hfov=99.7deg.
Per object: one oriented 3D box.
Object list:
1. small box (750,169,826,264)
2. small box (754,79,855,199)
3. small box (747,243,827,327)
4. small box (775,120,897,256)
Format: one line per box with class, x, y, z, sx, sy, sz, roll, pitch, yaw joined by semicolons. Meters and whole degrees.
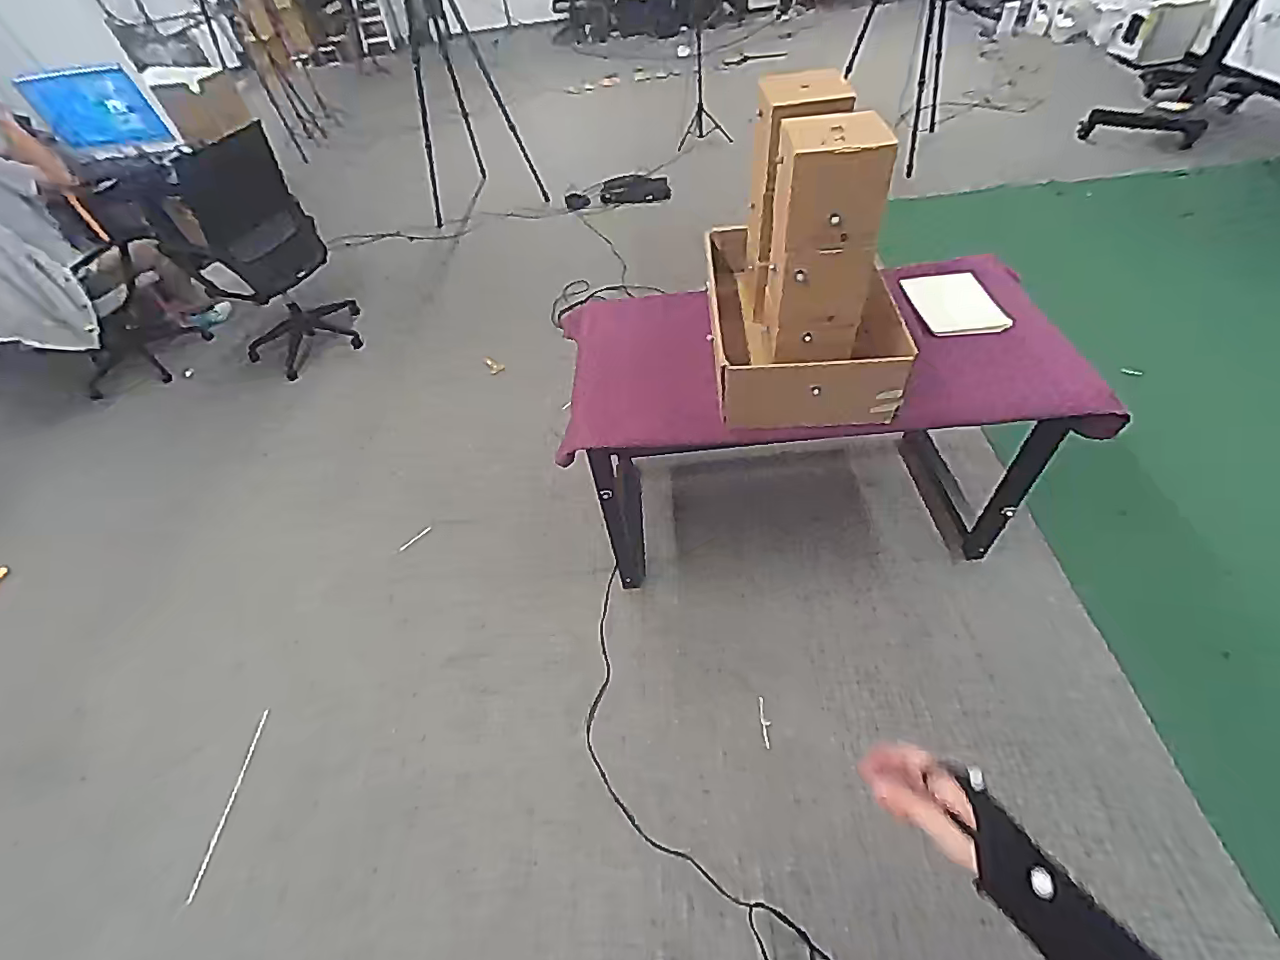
small box;0.360;-0.635;1.299;0.168;0.176;0.179;-5;50;3
small box;0.346;-0.737;1.173;0.168;0.176;0.179;-5;51;4
small box;0.376;-0.525;1.420;0.168;0.176;0.179;-4;51;4
small box;0.345;-0.532;0.992;0.168;0.176;0.179;-2;49;6
